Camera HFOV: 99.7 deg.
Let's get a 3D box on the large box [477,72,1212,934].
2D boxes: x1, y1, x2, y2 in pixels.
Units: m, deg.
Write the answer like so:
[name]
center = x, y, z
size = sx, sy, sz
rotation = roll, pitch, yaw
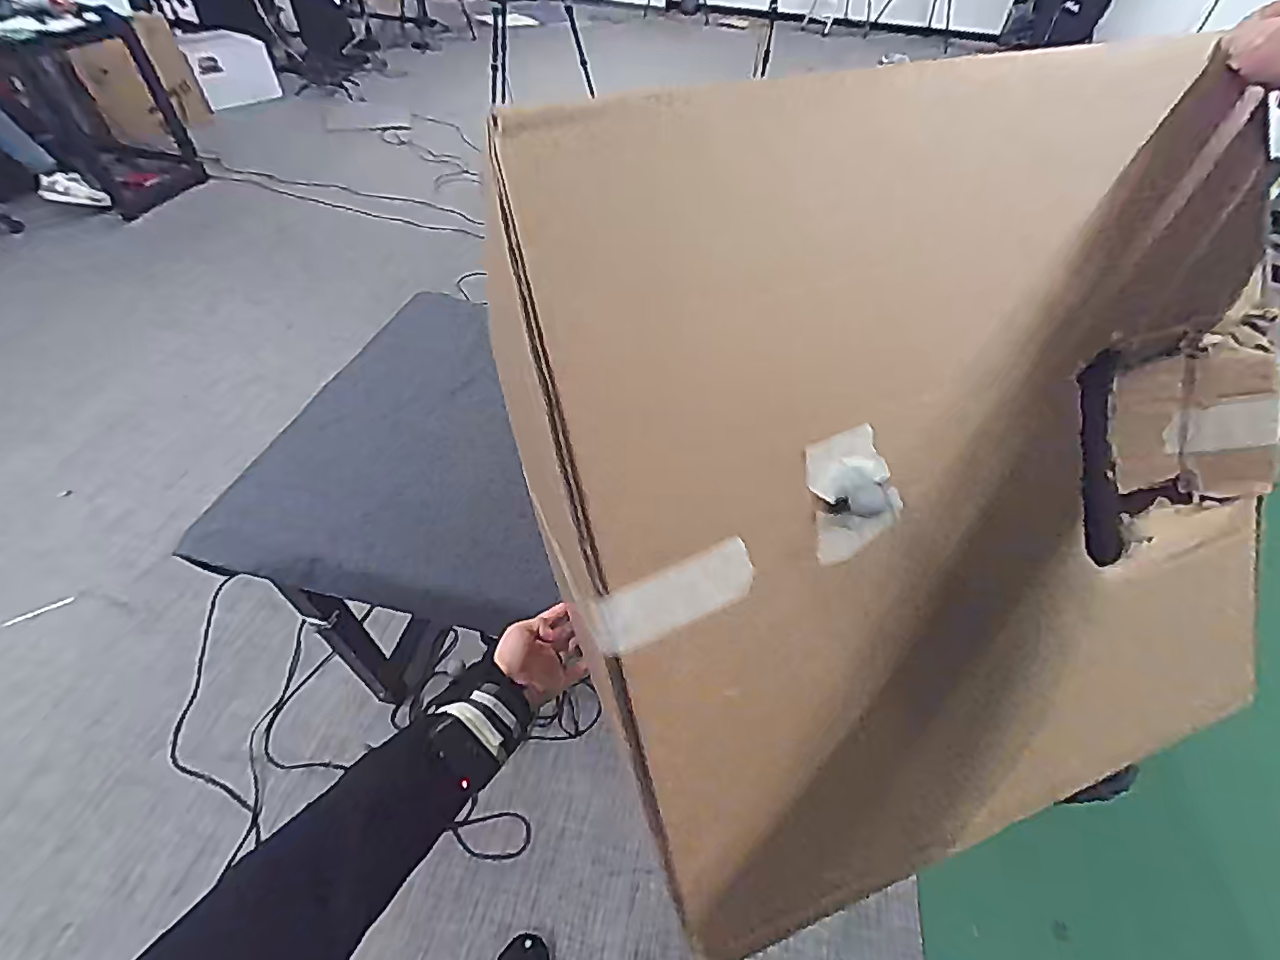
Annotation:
[large box]
center = 0.078, -0.020, 0.408
size = 0.320, 0.320, 0.408
rotation = -17, 13, -15
